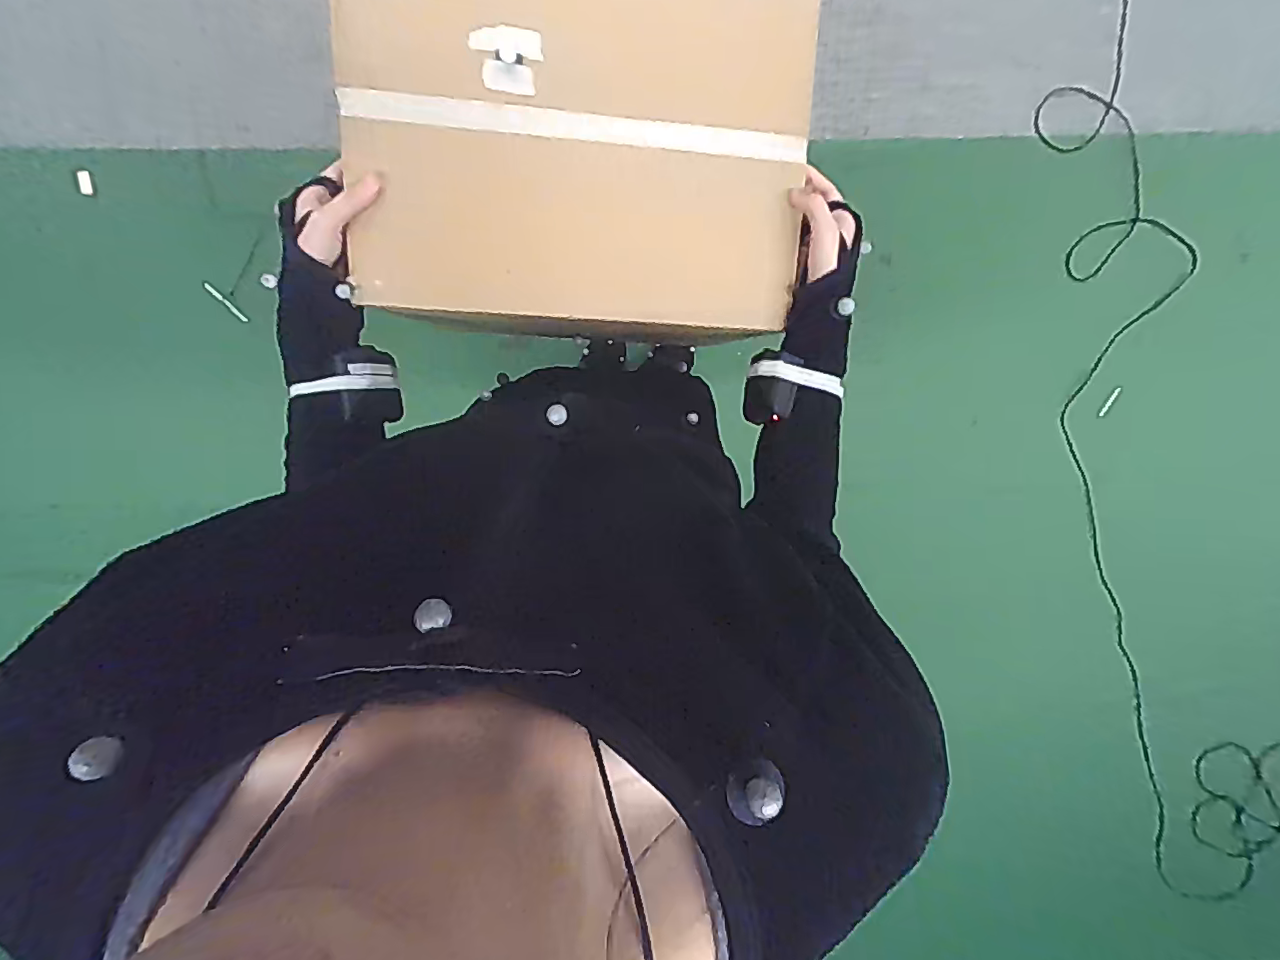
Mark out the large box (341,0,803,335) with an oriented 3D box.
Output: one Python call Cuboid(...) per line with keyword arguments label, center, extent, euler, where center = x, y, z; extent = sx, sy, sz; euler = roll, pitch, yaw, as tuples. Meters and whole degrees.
Cuboid(label="large box", center=(-0.069, -0.337, 0.632), extent=(0.408, 0.320, 0.320), euler=(0, 101, -8))
